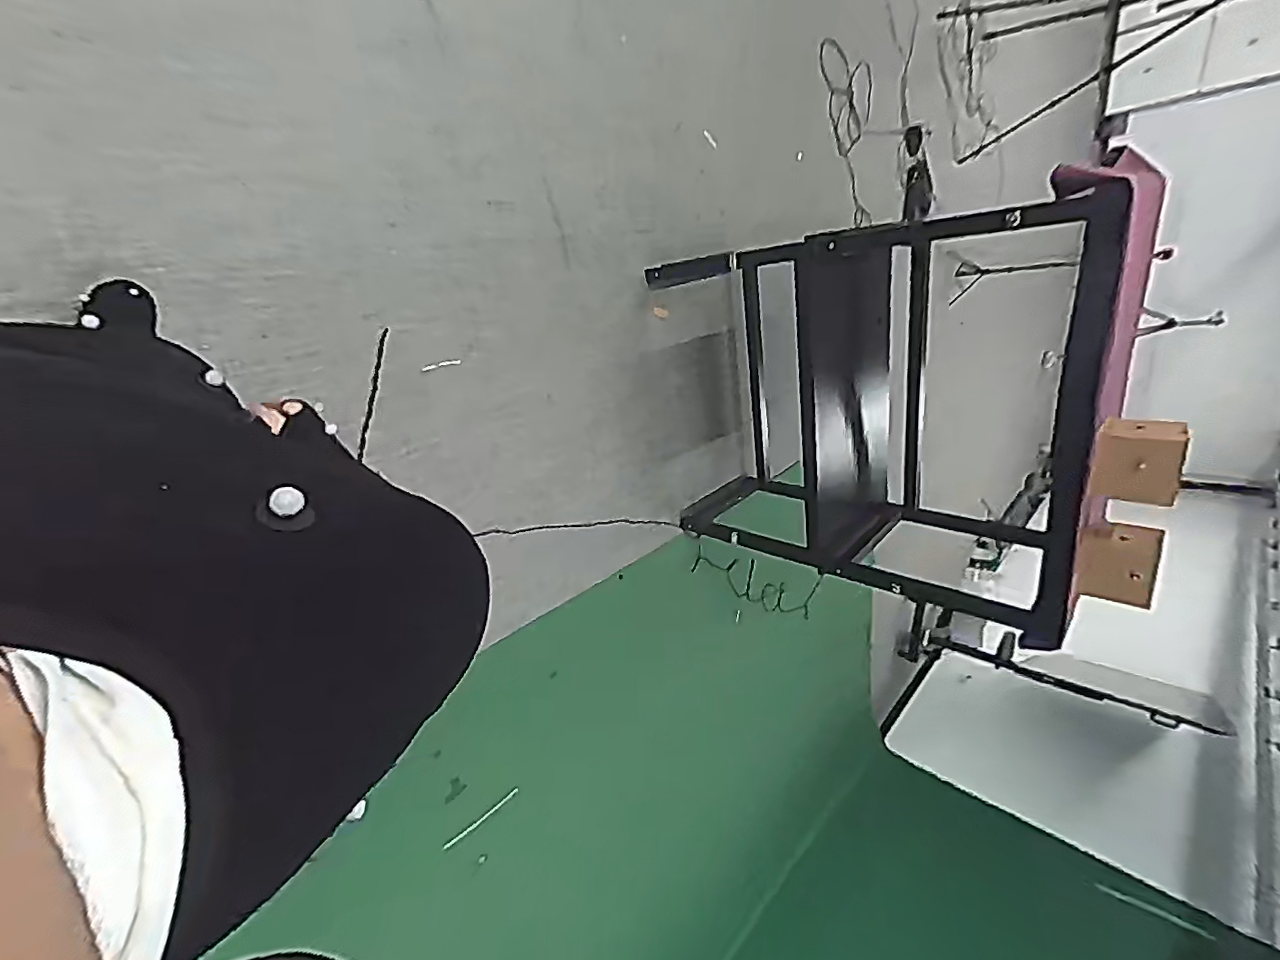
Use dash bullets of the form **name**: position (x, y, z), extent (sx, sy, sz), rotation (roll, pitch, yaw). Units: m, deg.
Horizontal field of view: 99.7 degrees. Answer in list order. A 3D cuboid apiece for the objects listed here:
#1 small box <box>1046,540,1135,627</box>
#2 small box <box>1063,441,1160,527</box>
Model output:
- **small box**: position (1.278, 0.283, 1.538), extent (0.168, 0.176, 0.179), rotation (-22, 115, -42)
- **small box**: position (1.231, 0.001, 1.417), extent (0.168, 0.176, 0.179), rotation (-24, 116, -41)
